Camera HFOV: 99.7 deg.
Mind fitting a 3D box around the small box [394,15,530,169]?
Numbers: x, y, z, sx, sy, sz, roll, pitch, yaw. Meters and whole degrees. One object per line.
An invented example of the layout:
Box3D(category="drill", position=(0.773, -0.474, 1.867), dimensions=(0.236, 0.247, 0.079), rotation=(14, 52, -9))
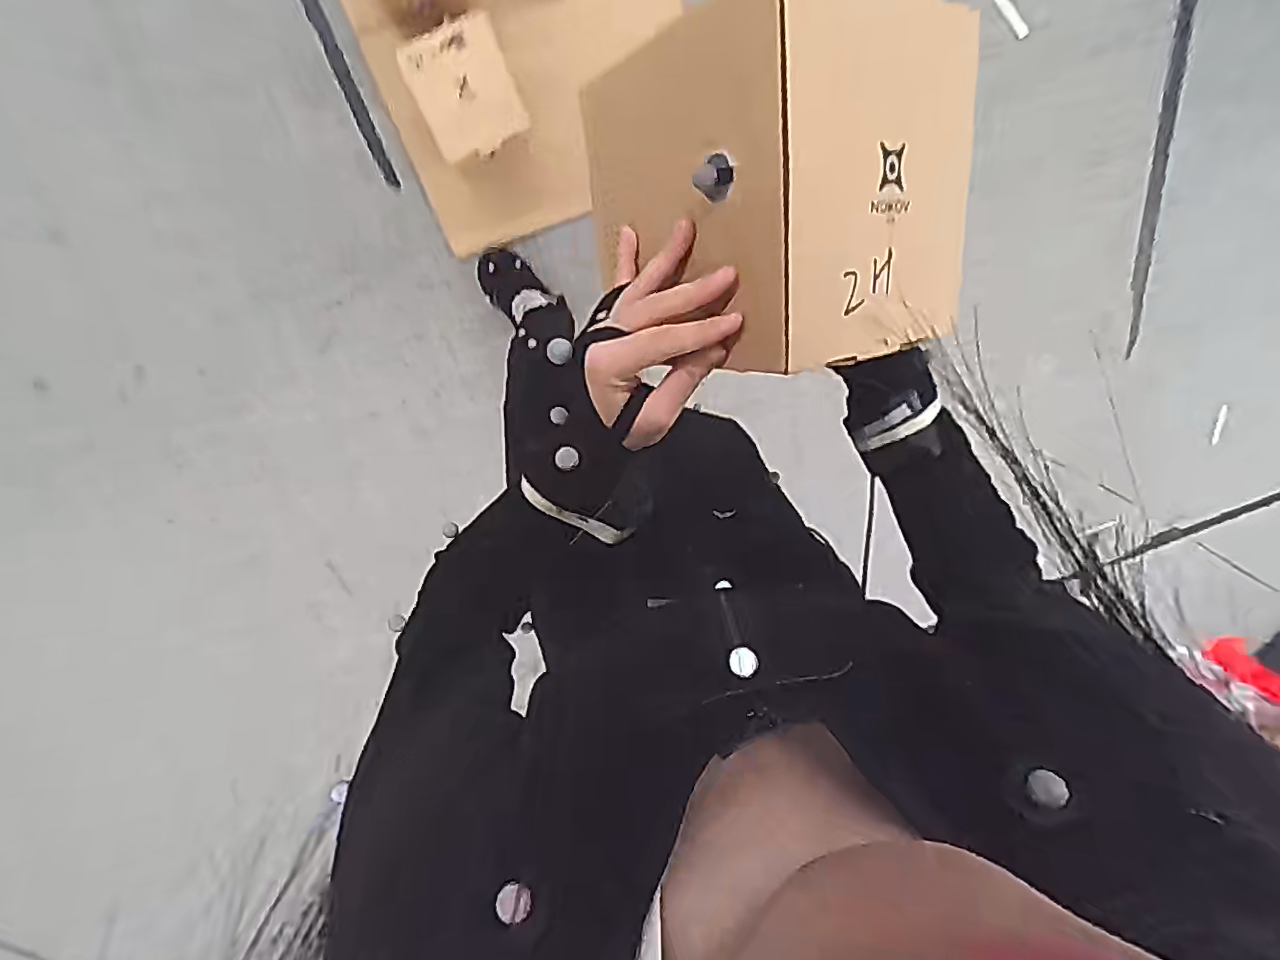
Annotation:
Box3D(category="small box", position=(-0.312, -0.692, 0.987), dimensions=(0.168, 0.176, 0.179), rotation=(-25, 119, 0))

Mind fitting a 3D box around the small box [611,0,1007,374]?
Box3D(category="small box", position=(0.094, -0.168, 0.342), dimensions=(0.168, 0.176, 0.179), rotation=(-17, 113, -32))
